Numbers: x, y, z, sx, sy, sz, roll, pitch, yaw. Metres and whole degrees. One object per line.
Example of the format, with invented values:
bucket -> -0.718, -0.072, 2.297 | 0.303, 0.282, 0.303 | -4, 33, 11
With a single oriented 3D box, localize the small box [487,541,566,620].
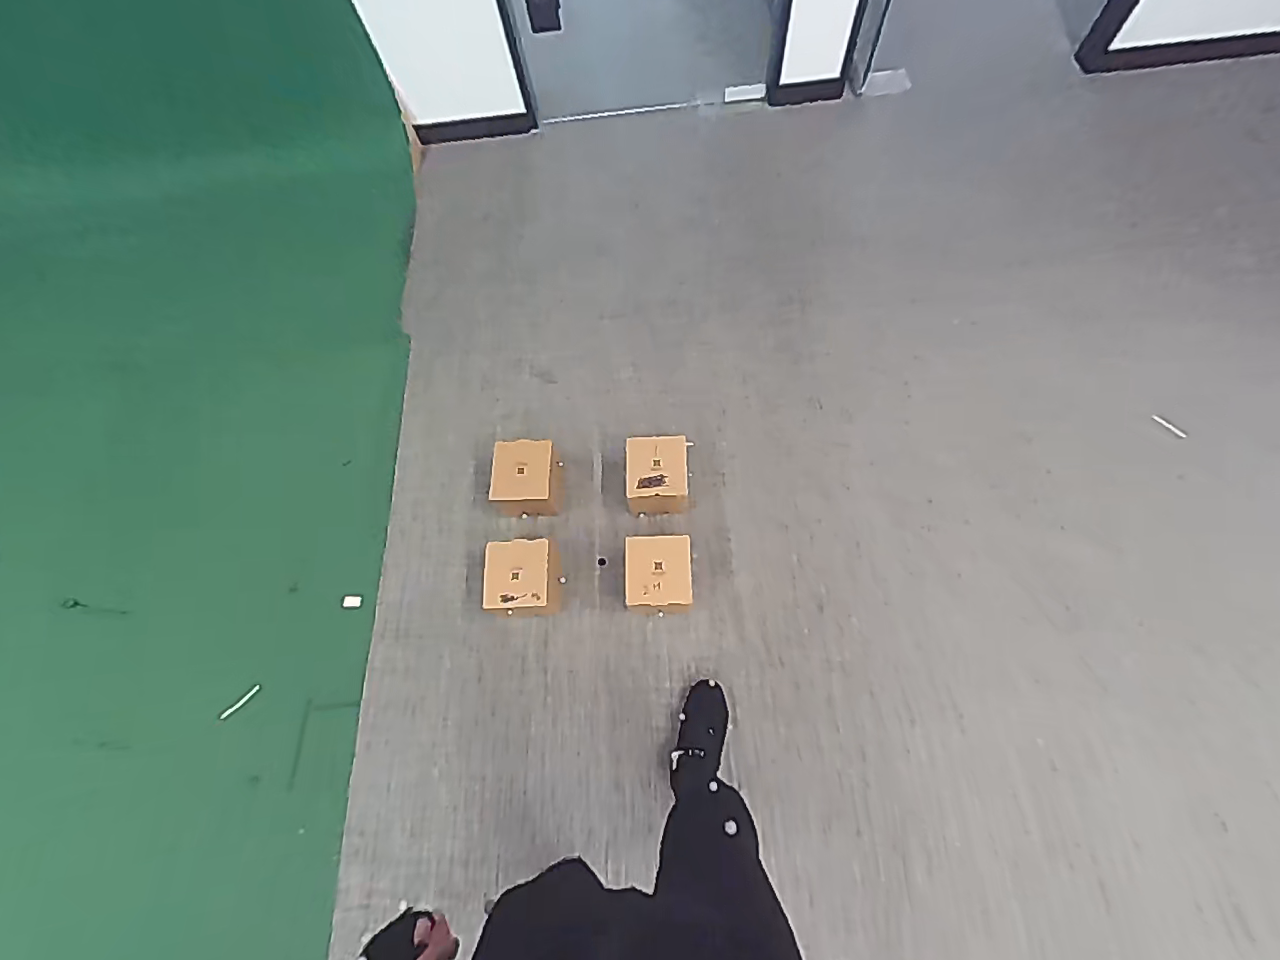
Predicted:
small box -> -0.298, 0.273, 1.453 | 0.168, 0.176, 0.179 | -4, 68, 5

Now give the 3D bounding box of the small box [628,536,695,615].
small box -> 0.059, 0.256, 1.425 | 0.168, 0.176, 0.179 | -3, 69, 5

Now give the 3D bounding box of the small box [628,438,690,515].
small box -> 0.056, -0.003, 1.524 | 0.168, 0.176, 0.179 | -2, 68, 5
